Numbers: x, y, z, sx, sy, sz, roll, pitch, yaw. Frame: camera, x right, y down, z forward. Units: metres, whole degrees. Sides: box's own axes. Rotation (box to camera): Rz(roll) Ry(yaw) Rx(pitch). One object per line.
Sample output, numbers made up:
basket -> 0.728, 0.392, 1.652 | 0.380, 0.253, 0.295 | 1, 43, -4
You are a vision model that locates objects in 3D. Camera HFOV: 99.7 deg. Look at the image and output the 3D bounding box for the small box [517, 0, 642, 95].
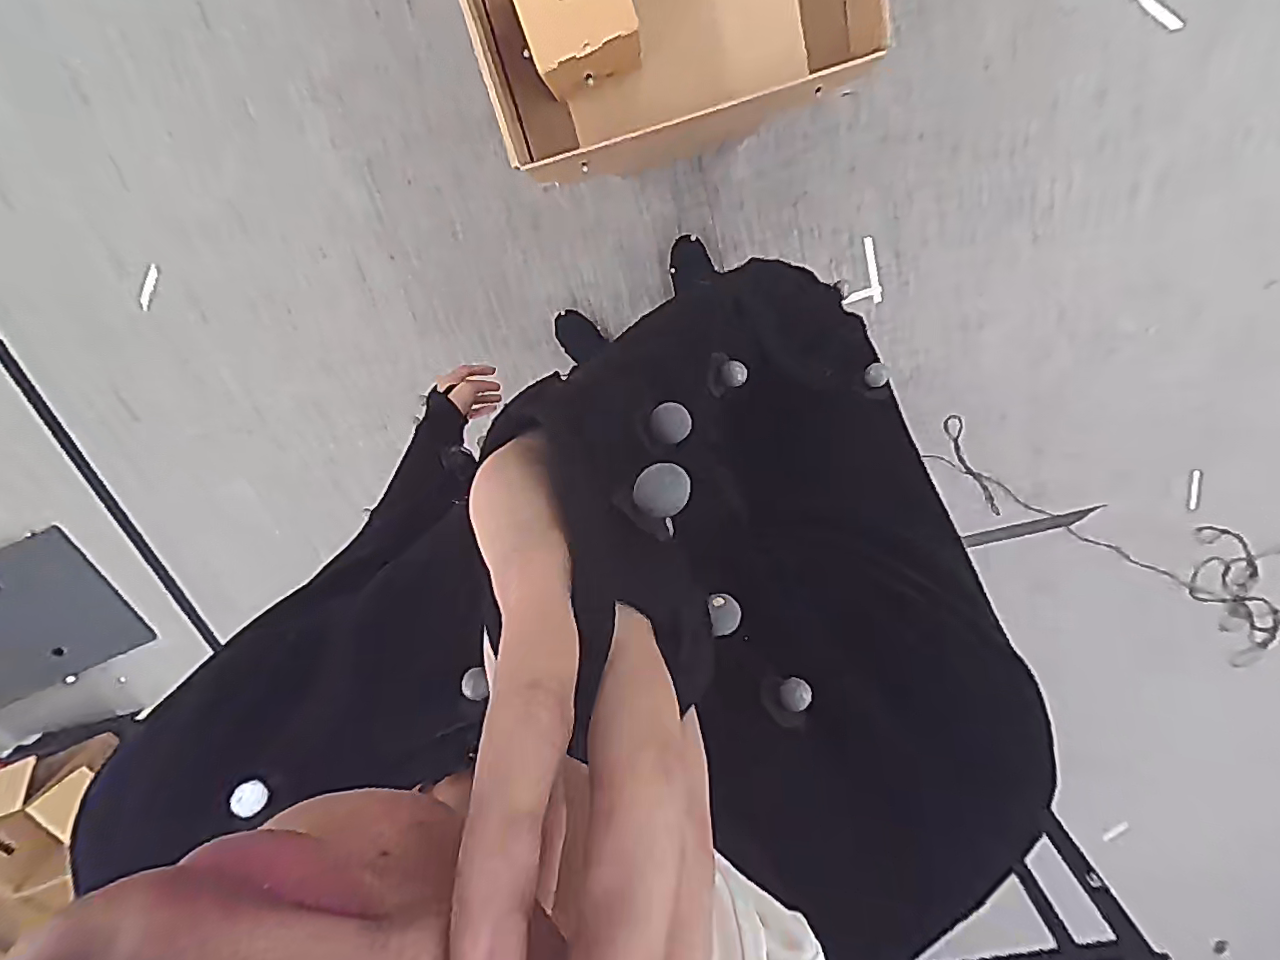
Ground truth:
small box -> -0.101, -0.750, 0.847 | 0.168, 0.176, 0.179 | -18, 111, 9
